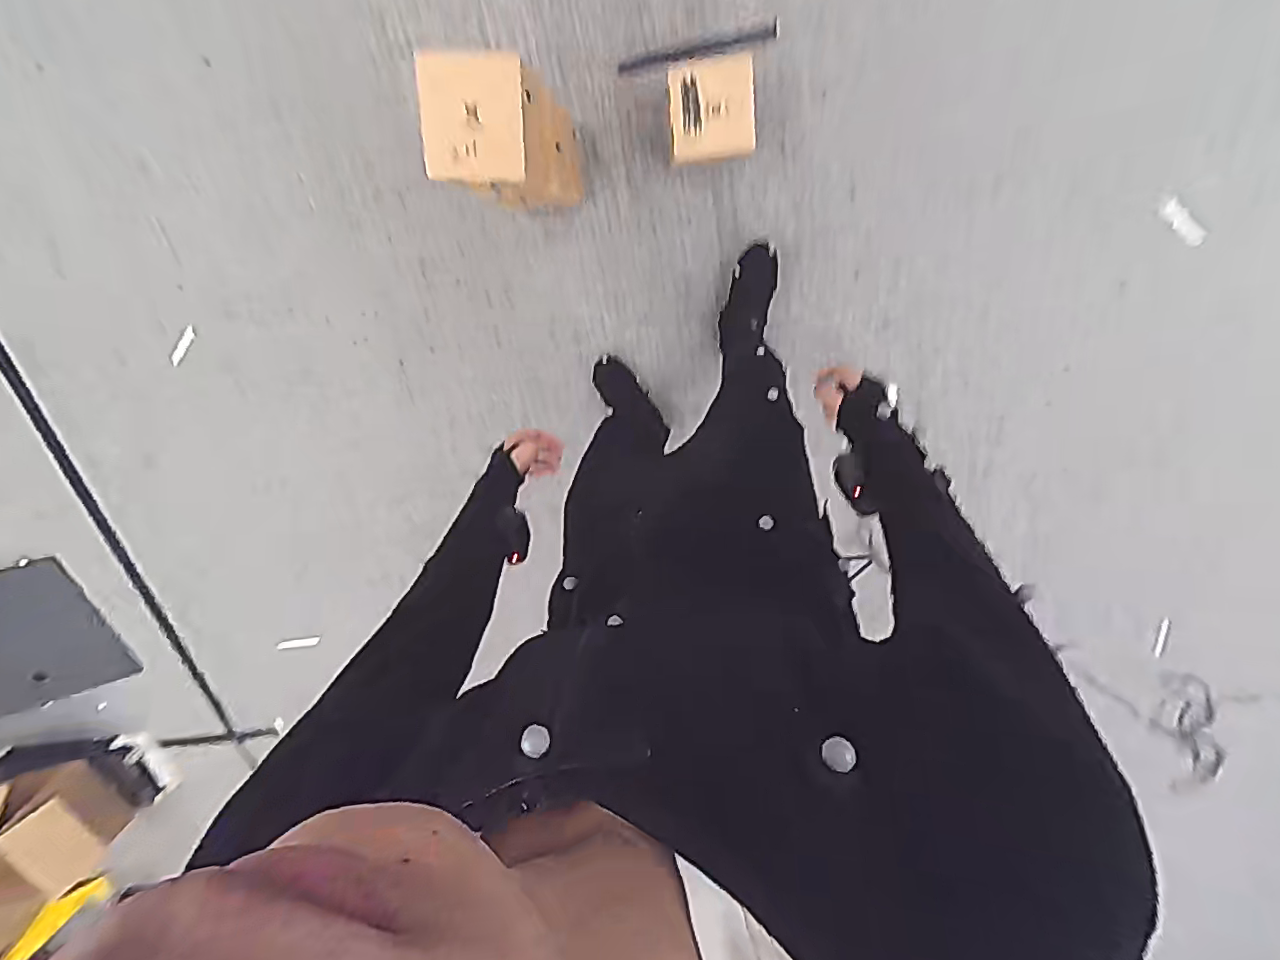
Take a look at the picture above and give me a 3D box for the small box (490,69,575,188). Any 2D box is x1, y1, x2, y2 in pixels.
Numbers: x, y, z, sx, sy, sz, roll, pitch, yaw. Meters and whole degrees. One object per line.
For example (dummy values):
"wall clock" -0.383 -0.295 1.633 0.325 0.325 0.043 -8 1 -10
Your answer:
"small box" -0.241 -0.742 1.159 0.168 0.176 0.179 -6 113 4

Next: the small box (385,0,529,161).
"small box" -0.277 -0.622 0.857 0.168 0.176 0.179 3 114 1

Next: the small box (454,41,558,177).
"small box" -0.255 -0.681 1.011 0.168 0.176 0.179 -3 114 3
